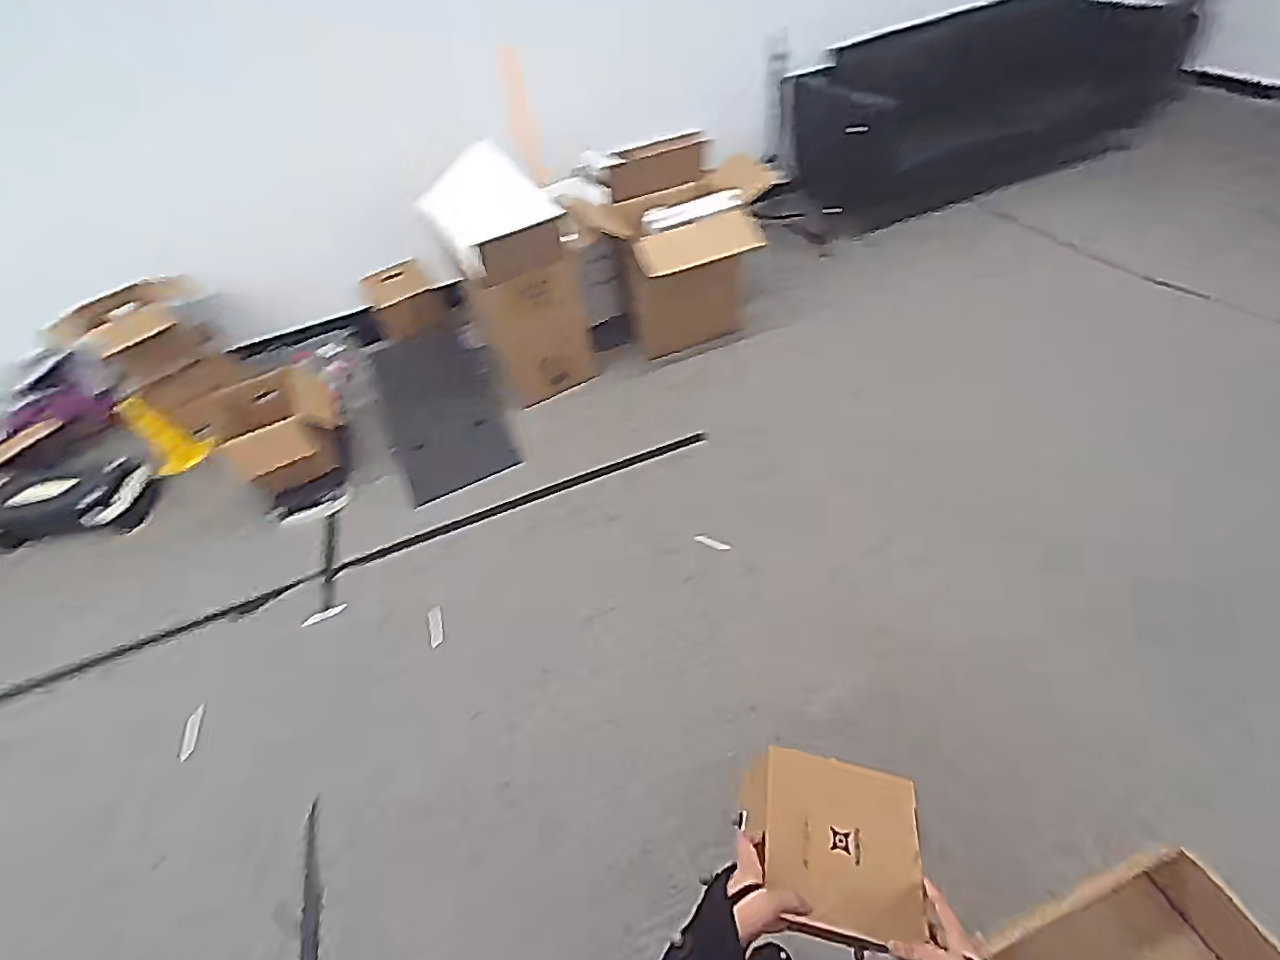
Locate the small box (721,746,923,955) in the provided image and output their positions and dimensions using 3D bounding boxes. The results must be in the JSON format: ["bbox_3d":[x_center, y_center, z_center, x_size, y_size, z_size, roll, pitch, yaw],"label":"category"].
[{"bbox_3d":[0.209,0.449,0.660,0.179,0.176,0.168,12,50,2],"label":"small box"}]
